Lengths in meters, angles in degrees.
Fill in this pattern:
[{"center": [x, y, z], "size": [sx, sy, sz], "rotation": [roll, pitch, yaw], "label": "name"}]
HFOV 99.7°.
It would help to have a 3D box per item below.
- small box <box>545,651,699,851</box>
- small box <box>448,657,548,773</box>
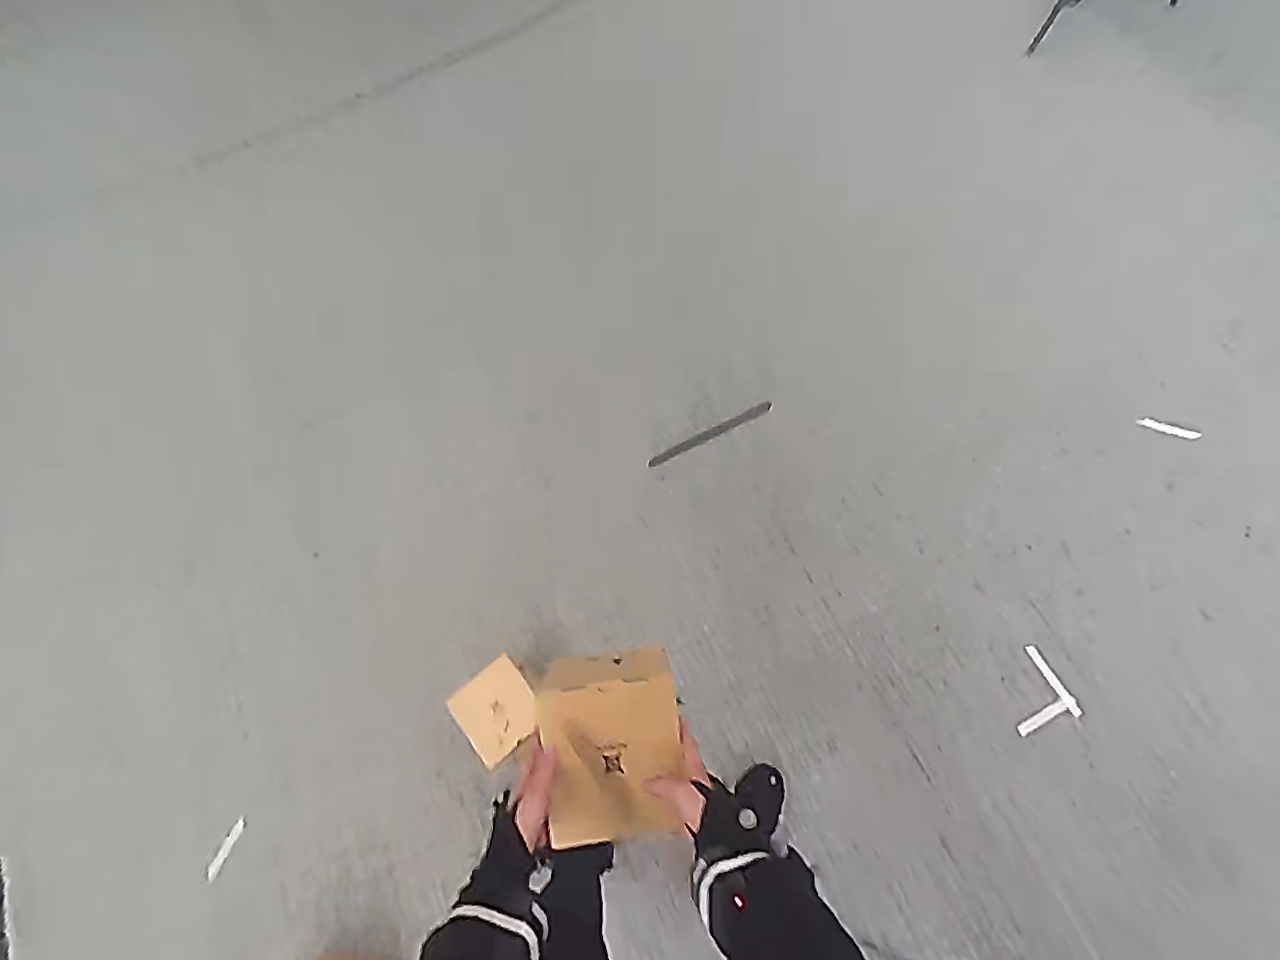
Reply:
[{"center": [-0.022, 0.335, 0.701], "size": [0.168, 0.176, 0.179], "rotation": [-7, 83, -2], "label": "small box"}, {"center": [-0.303, 0.533, 1.244], "size": [0.168, 0.176, 0.179], "rotation": [-39, 74, -10], "label": "small box"}]
